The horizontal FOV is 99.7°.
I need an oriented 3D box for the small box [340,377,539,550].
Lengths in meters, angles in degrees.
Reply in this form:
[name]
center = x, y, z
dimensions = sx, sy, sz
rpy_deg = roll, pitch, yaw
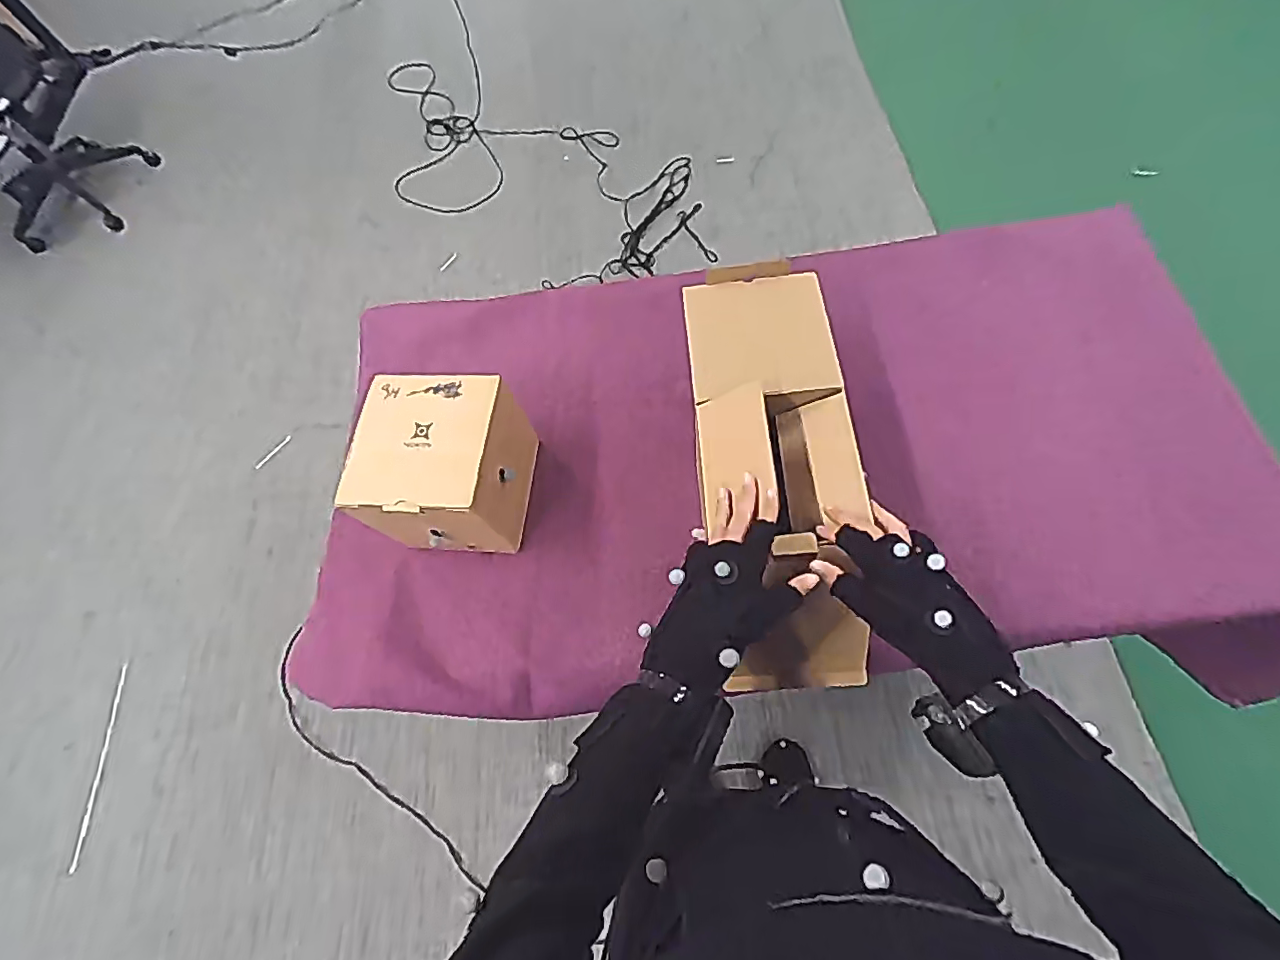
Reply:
[small box]
center = -0.241, -0.014, 0.699
dimensions = 0.168, 0.176, 0.179
rpy_deg = 2, 67, 8
